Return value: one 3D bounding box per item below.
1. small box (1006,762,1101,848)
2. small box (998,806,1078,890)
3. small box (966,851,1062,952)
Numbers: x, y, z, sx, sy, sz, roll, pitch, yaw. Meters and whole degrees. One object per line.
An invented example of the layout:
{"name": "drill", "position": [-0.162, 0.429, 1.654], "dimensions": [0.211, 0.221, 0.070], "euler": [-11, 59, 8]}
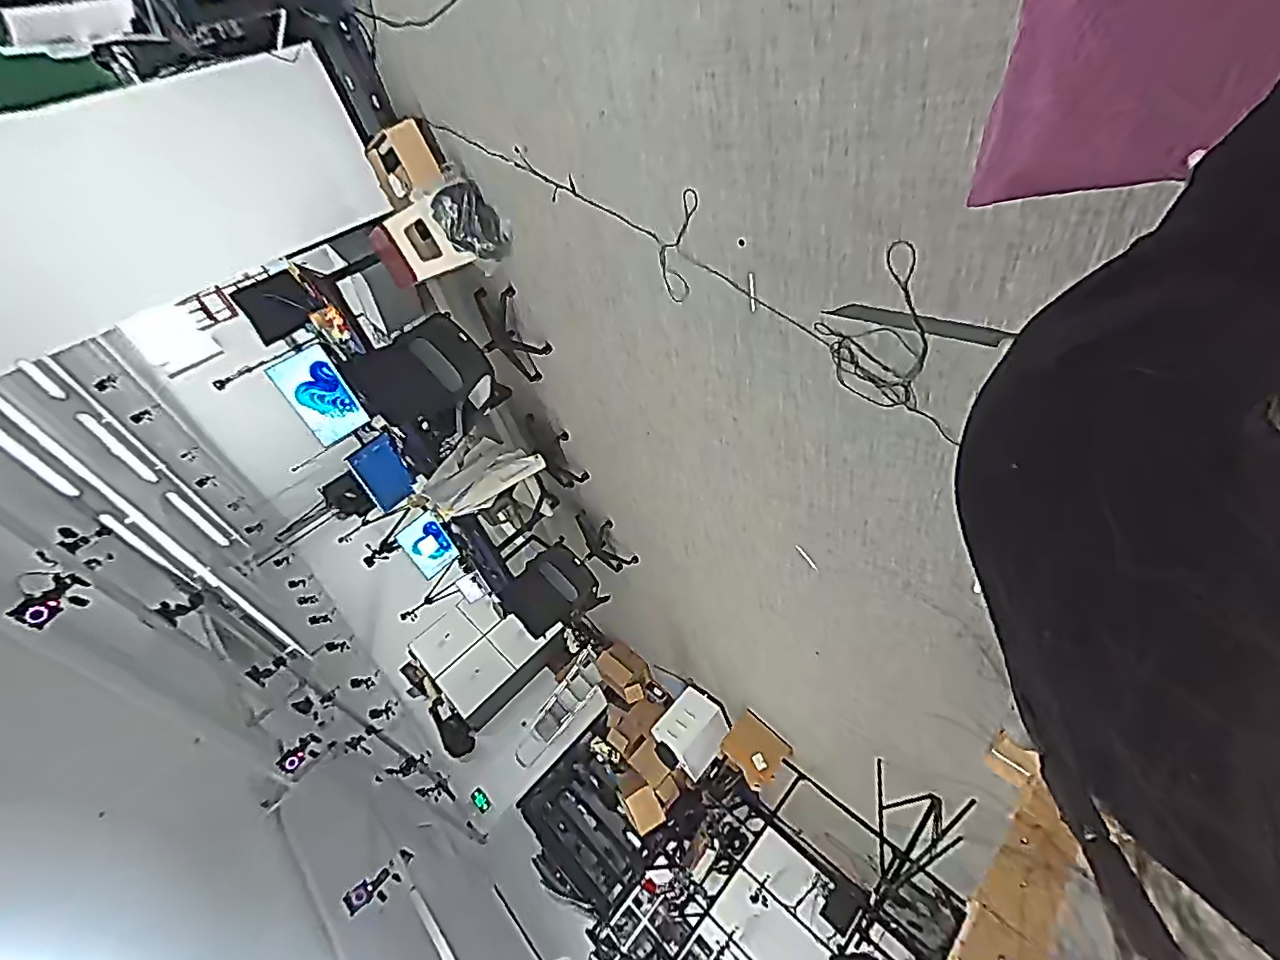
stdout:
{"name": "small box", "position": [1.357, 1.070, 1.773], "dimensions": [0.179, 0.176, 0.168], "euler": [33, 151, 31]}
{"name": "small box", "position": [1.253, 1.180, 1.712], "dimensions": [0.168, 0.176, 0.179], "euler": [23, 146, 45]}
{"name": "small box", "position": [1.135, 1.272, 1.646], "dimensions": [0.179, 0.176, 0.168], "euler": [28, 148, 40]}
